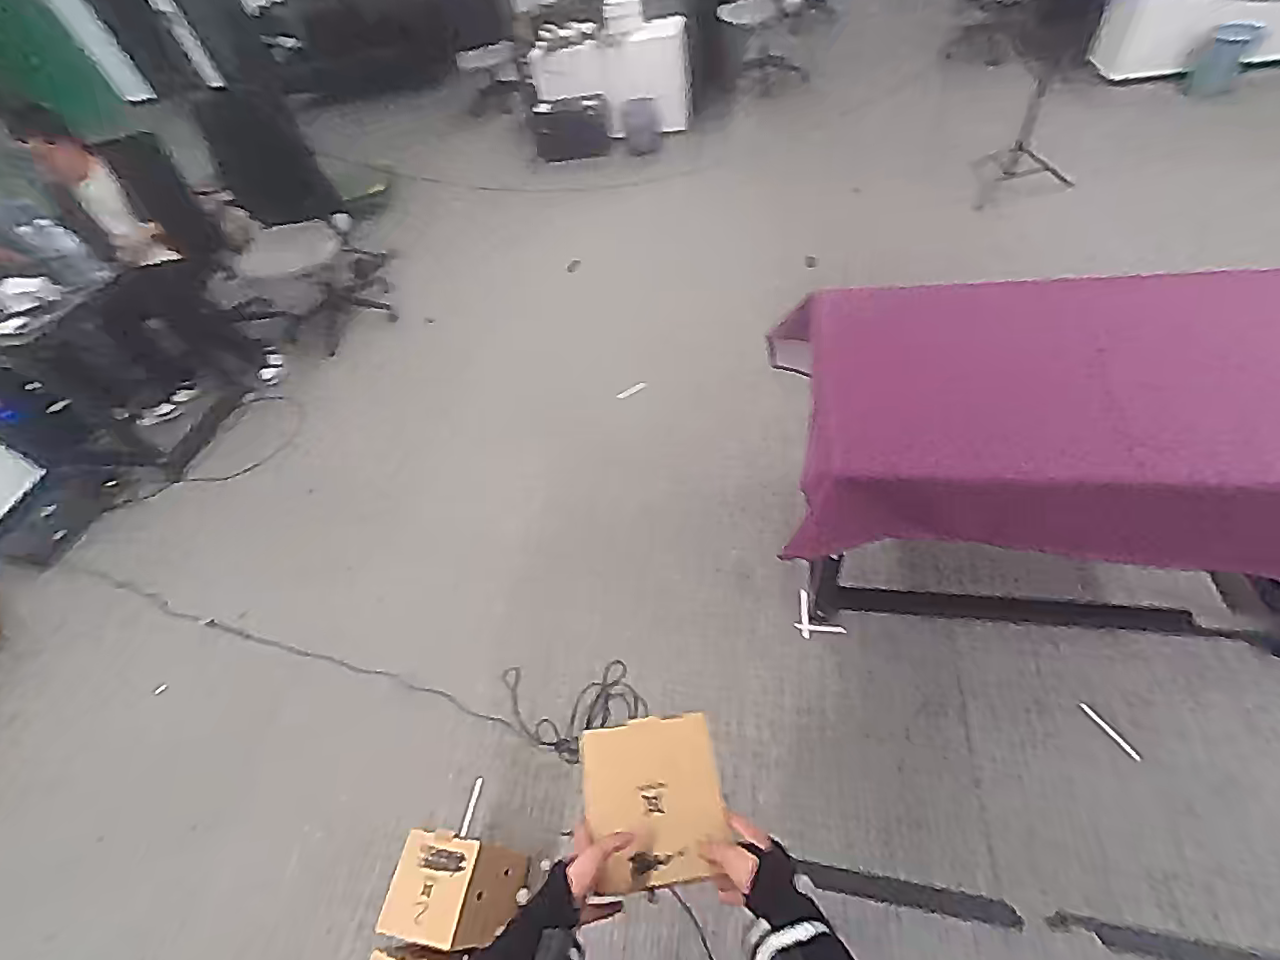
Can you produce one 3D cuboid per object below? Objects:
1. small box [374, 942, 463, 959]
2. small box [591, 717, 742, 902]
[{"bbox_3d":[-0.429,1.015,1.026,0.168,0.176,0.179,6,57,17],"label":"small box"},{"bbox_3d":[0.030,0.433,0.707,0.168,0.176,0.179,-8,52,0],"label":"small box"}]
